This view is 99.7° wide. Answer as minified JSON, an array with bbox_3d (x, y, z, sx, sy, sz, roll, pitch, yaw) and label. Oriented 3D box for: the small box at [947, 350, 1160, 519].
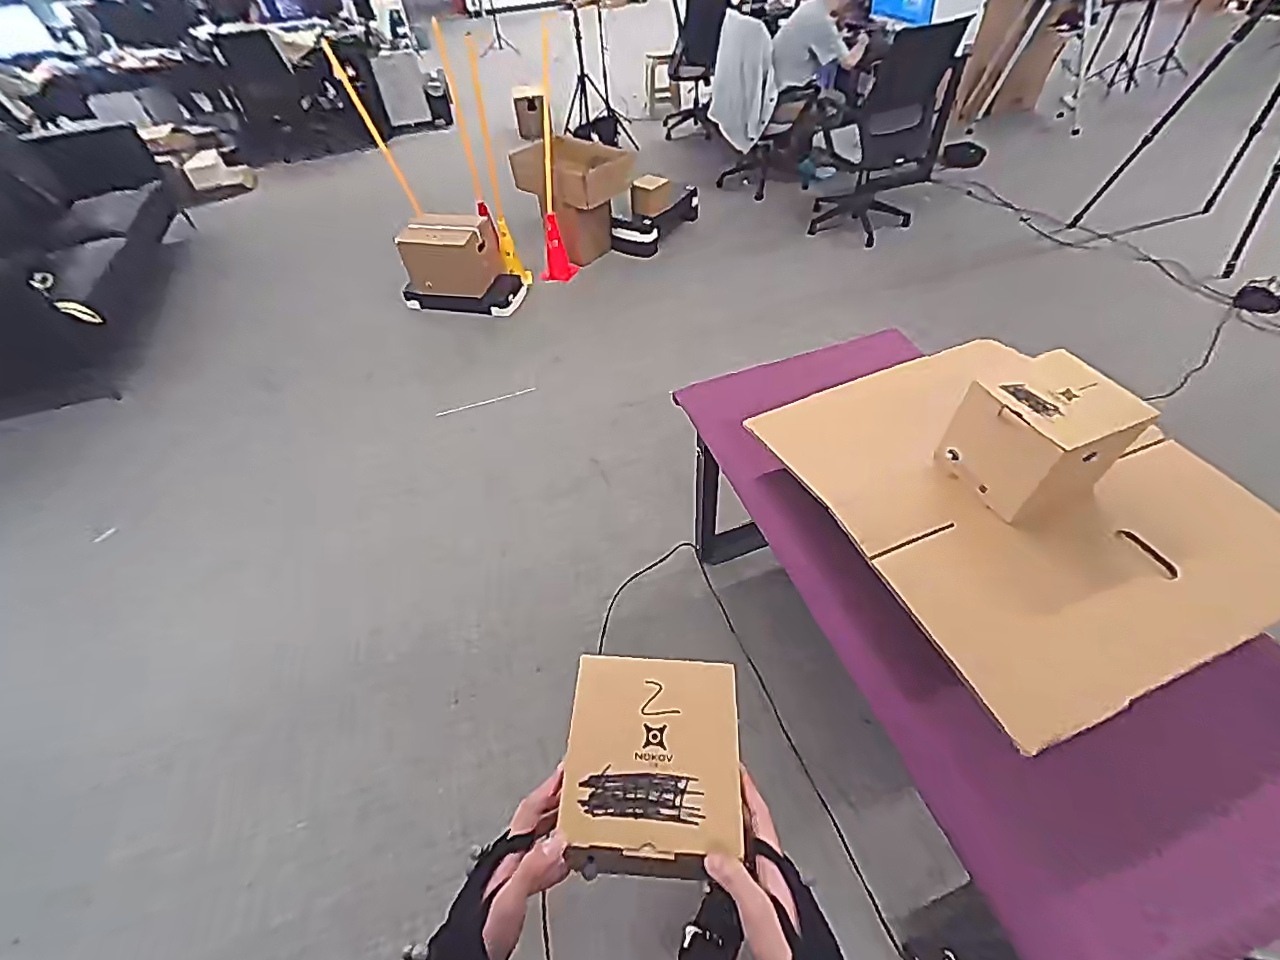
[{"bbox_3d":[0.609,-0.066,0.831,0.179,0.176,0.168,-19,52,-12],"label":"small box"}]
